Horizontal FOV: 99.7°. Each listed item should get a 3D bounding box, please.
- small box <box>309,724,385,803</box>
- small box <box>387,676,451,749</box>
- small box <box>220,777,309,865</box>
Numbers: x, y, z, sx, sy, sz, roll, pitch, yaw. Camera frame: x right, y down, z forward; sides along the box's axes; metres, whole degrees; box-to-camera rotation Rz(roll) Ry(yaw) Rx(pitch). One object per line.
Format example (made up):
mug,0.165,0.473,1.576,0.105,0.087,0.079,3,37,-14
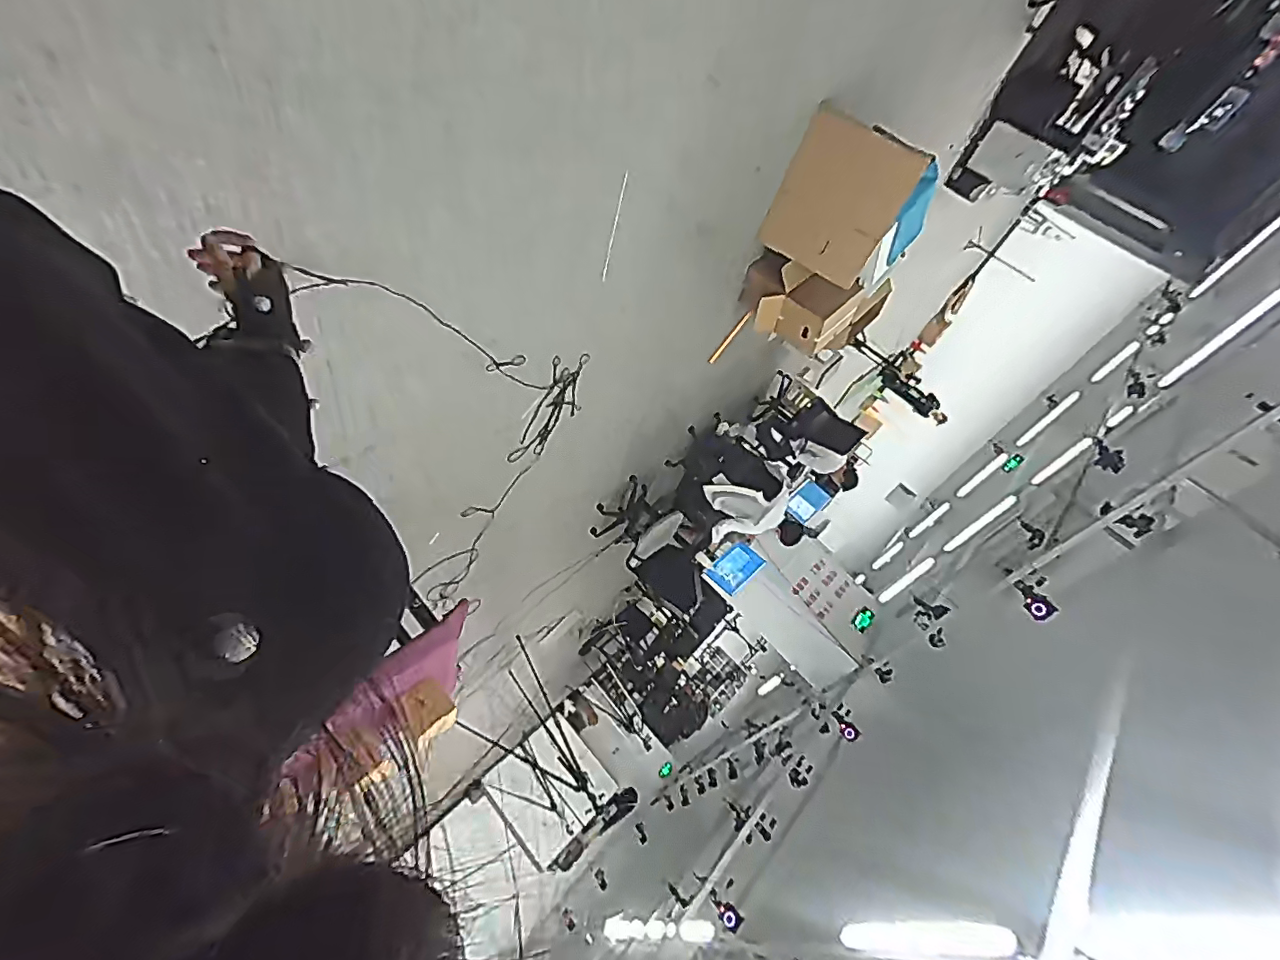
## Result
small box,-1.025,0.993,1.898,0.168,0.176,0.179,-34,158,-35
small box,-0.848,0.883,2.067,0.168,0.176,0.179,-31,156,-40
small box,-1.195,1.093,1.728,0.179,0.176,0.168,-30,156,-42
